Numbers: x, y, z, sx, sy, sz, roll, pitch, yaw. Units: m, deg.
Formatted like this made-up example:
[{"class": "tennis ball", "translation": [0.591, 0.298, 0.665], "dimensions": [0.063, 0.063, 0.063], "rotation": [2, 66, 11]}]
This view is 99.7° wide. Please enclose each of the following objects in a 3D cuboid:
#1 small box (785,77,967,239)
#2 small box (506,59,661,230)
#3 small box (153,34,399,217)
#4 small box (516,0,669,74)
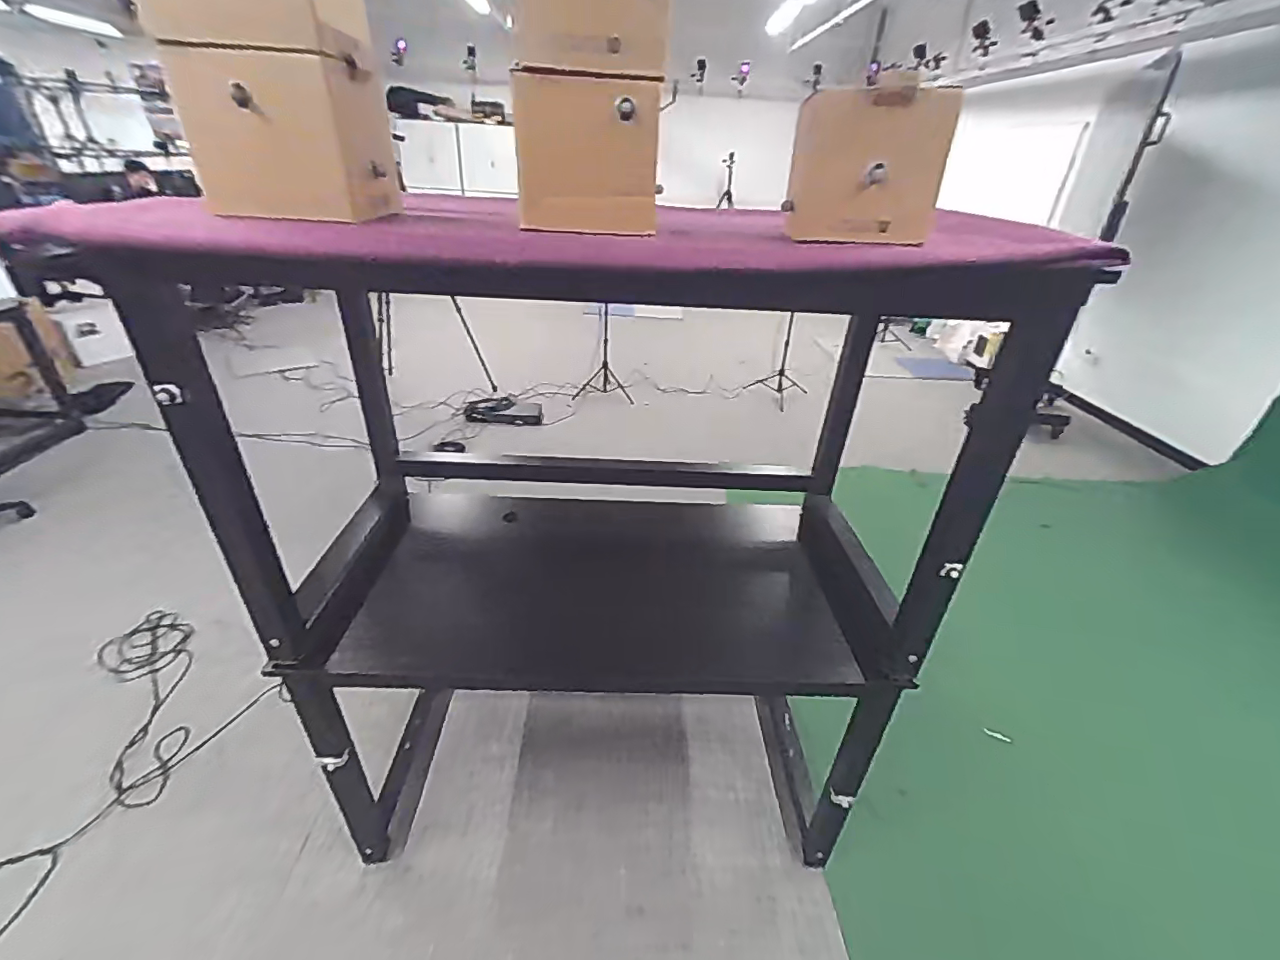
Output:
[{"class": "small box", "translation": [0.296, -0.420, 0.721], "dimensions": [0.168, 0.176, 0.179], "rotation": [4, 29, 5]}, {"class": "small box", "translation": [-0.066, -0.425, 0.707], "dimensions": [0.179, 0.176, 0.168], "rotation": [2, 29, -2]}, {"class": "small box", "translation": [-0.428, -0.429, 0.674], "dimensions": [0.179, 0.176, 0.168], "rotation": [2, 32, -3]}, {"class": "small box", "translation": [-0.052, -0.566, 0.626], "dimensions": [0.168, 0.176, 0.179], "rotation": [2, 28, -5]}]
